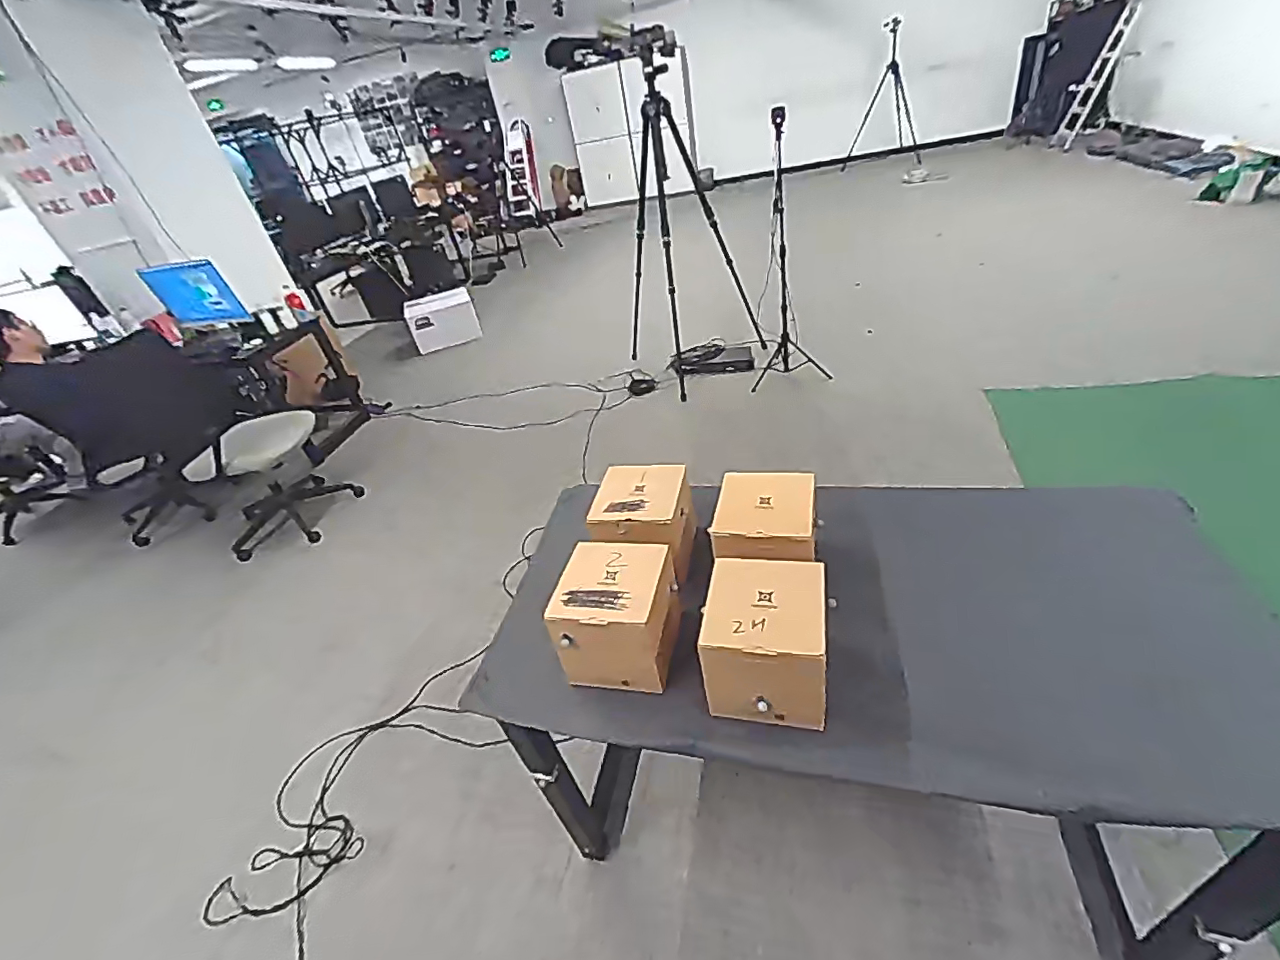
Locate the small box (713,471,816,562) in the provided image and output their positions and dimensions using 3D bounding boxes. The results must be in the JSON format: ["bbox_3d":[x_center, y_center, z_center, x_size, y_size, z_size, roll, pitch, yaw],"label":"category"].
[{"bbox_3d":[0.235,0.103,0.998,0.168,0.176,0.179,1,39,18],"label":"small box"}]

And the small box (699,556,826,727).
[{"bbox_3d":[0.192,0.238,0.818,0.168,0.176,0.179,0,36,18],"label":"small box"}]

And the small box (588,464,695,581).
[{"bbox_3d":[0.013,0.086,1.088,0.168,0.176,0.179,-1,37,16],"label":"small box"}]
